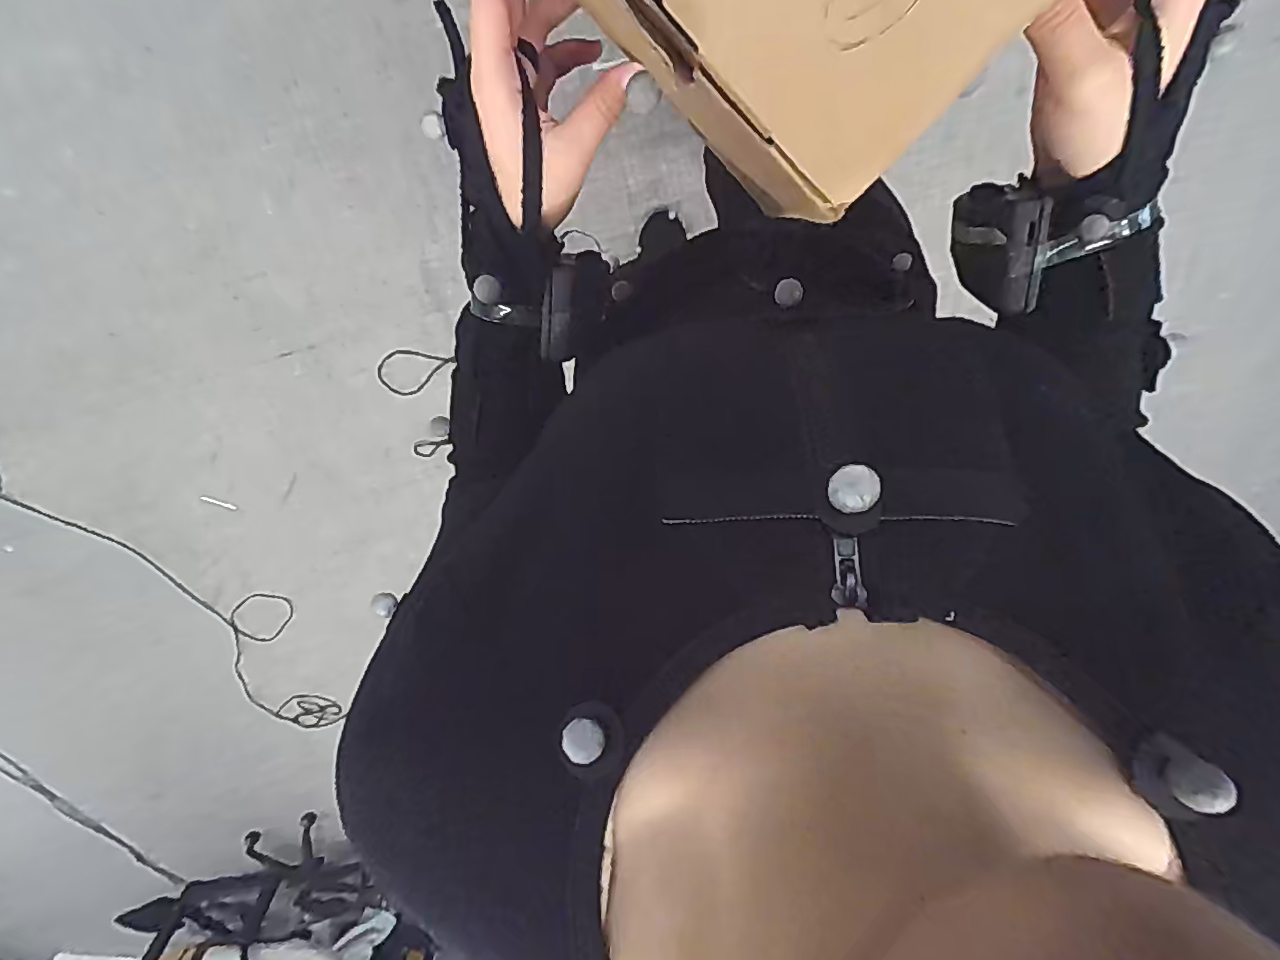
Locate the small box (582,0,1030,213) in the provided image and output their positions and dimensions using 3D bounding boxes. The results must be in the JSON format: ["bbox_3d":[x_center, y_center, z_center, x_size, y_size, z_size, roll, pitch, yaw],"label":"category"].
[{"bbox_3d":[0.066,-0.226,0.197,0.168,0.176,0.179,40,114,-13],"label":"small box"}]
